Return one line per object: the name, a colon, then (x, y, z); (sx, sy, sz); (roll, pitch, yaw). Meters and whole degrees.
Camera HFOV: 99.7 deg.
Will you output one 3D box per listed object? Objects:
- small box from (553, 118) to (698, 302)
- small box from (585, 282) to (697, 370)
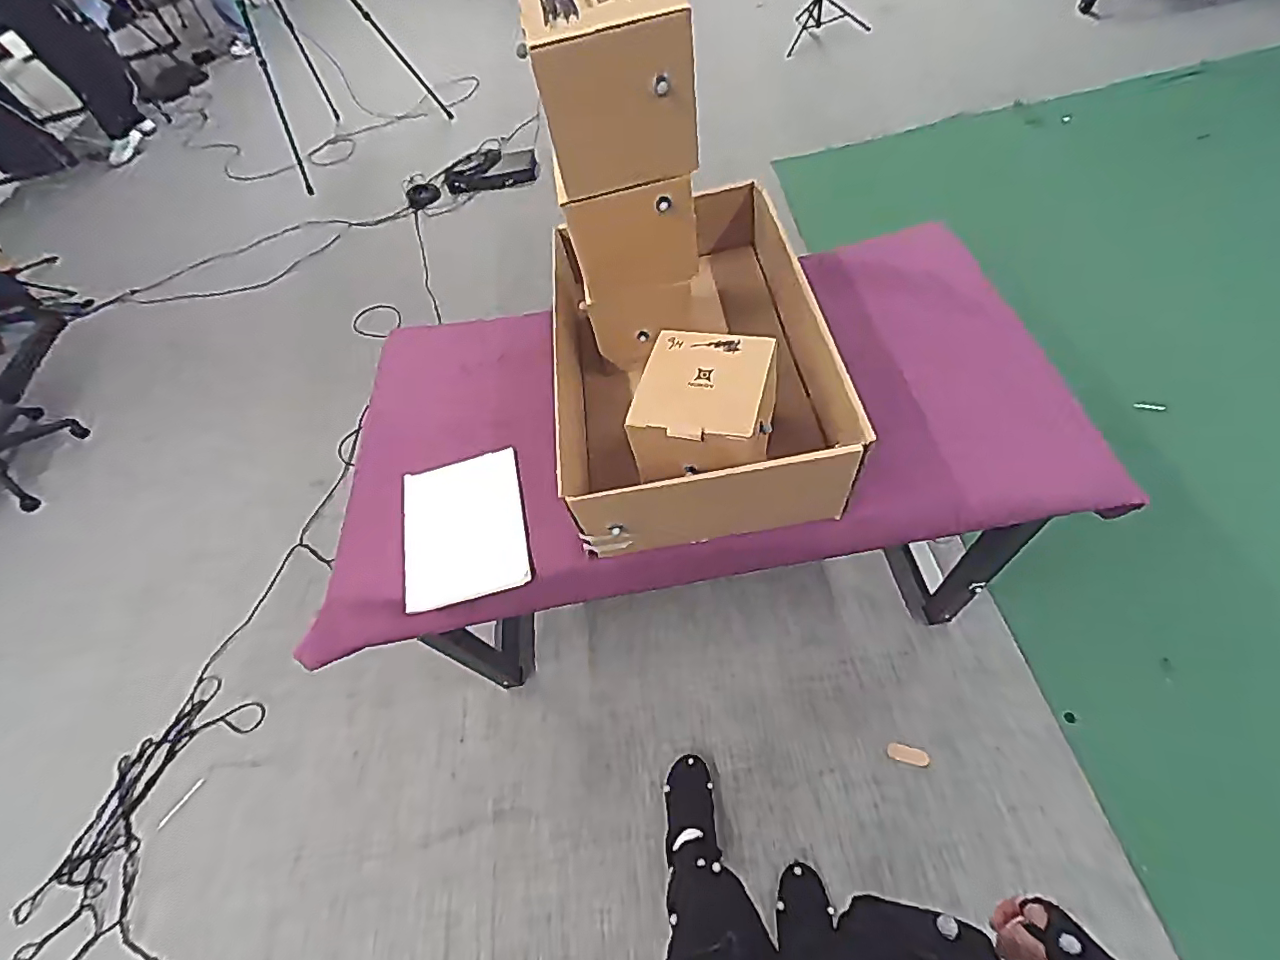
small box: (-0.018, -0.392, 0.803); (0.179, 0.176, 0.168); (-12, 58, 3)
small box: (0.003, -0.310, 0.941); (0.168, 0.176, 0.179); (-10, 58, 5)
